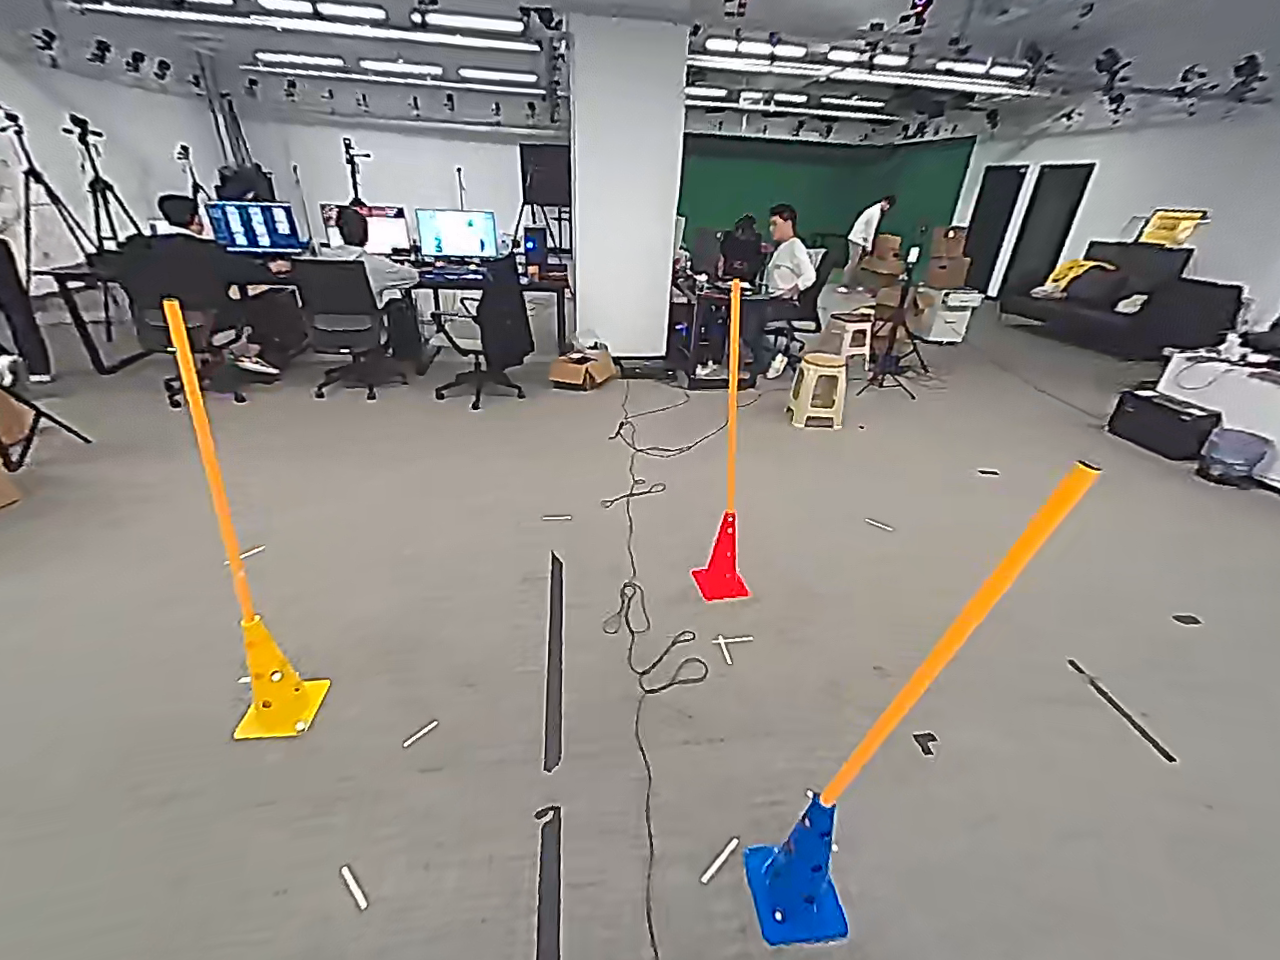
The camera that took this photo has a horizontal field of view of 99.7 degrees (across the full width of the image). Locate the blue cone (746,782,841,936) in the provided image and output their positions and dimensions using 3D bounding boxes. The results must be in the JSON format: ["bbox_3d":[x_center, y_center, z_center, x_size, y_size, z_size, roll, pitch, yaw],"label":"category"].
[{"bbox_3d":[0.367,0.812,1.196,0.193,0.380,0.192,0,28,-5],"label":"blue cone"}]

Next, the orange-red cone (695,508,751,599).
[{"bbox_3d":[0.348,0.275,2.168,0.199,0.360,0.198,-5,28,-11],"label":"orange-red cone"}]
